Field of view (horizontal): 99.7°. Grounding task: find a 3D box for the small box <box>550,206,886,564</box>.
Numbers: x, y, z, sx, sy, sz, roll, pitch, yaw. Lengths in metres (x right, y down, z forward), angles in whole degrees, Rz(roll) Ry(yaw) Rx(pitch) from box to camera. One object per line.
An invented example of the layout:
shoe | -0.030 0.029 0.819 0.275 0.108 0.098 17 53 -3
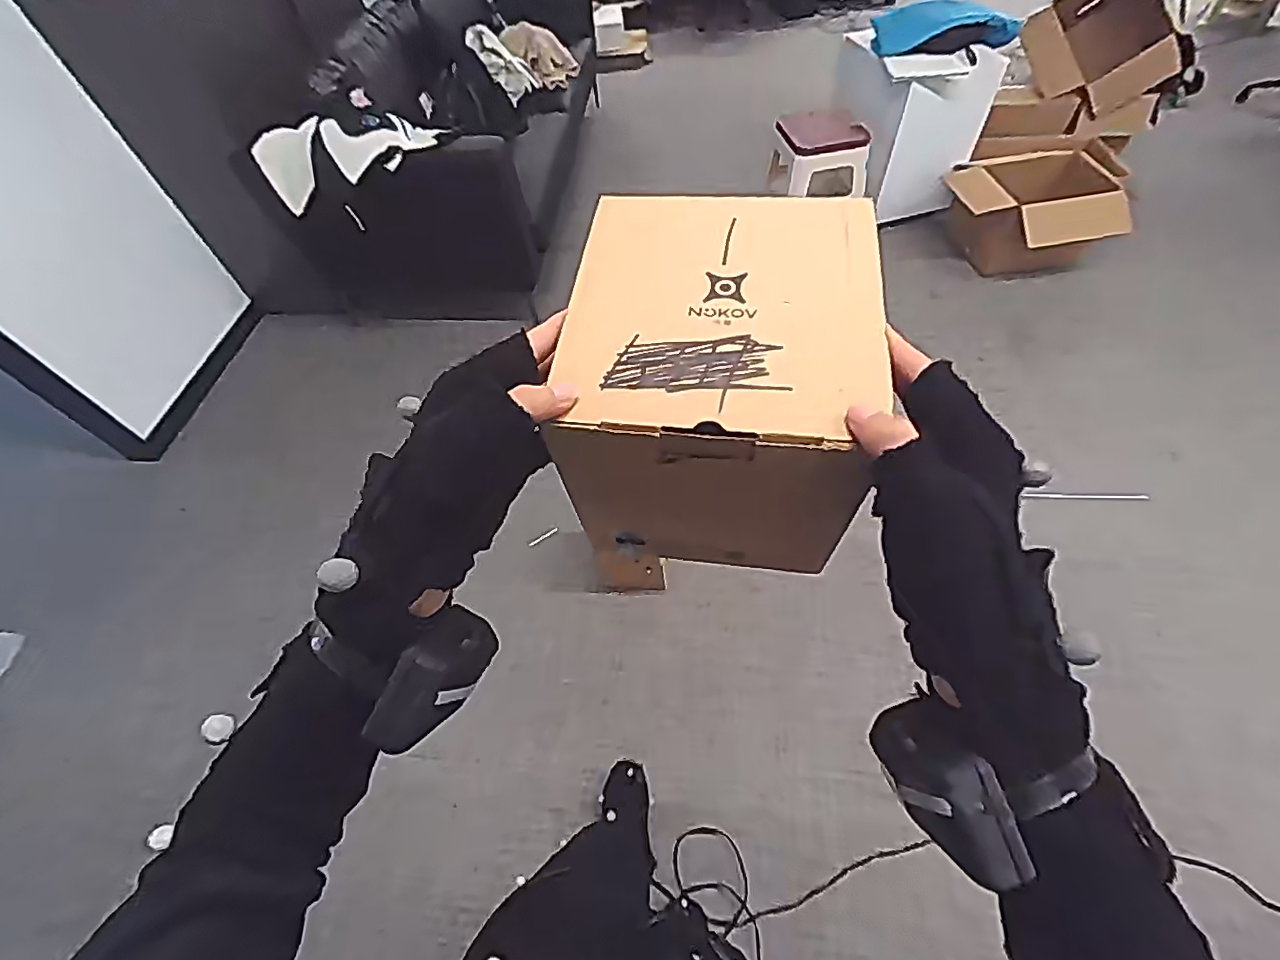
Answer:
small box | 0.054 -0.056 0.367 0.168 0.176 0.179 5 60 9

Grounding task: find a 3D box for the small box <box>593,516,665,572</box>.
small box | -0.019 0.118 1.400 0.168 0.176 0.179 2 54 7

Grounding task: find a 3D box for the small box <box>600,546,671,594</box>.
small box | -0.006 0.213 1.533 0.179 0.176 0.168 2 55 7
